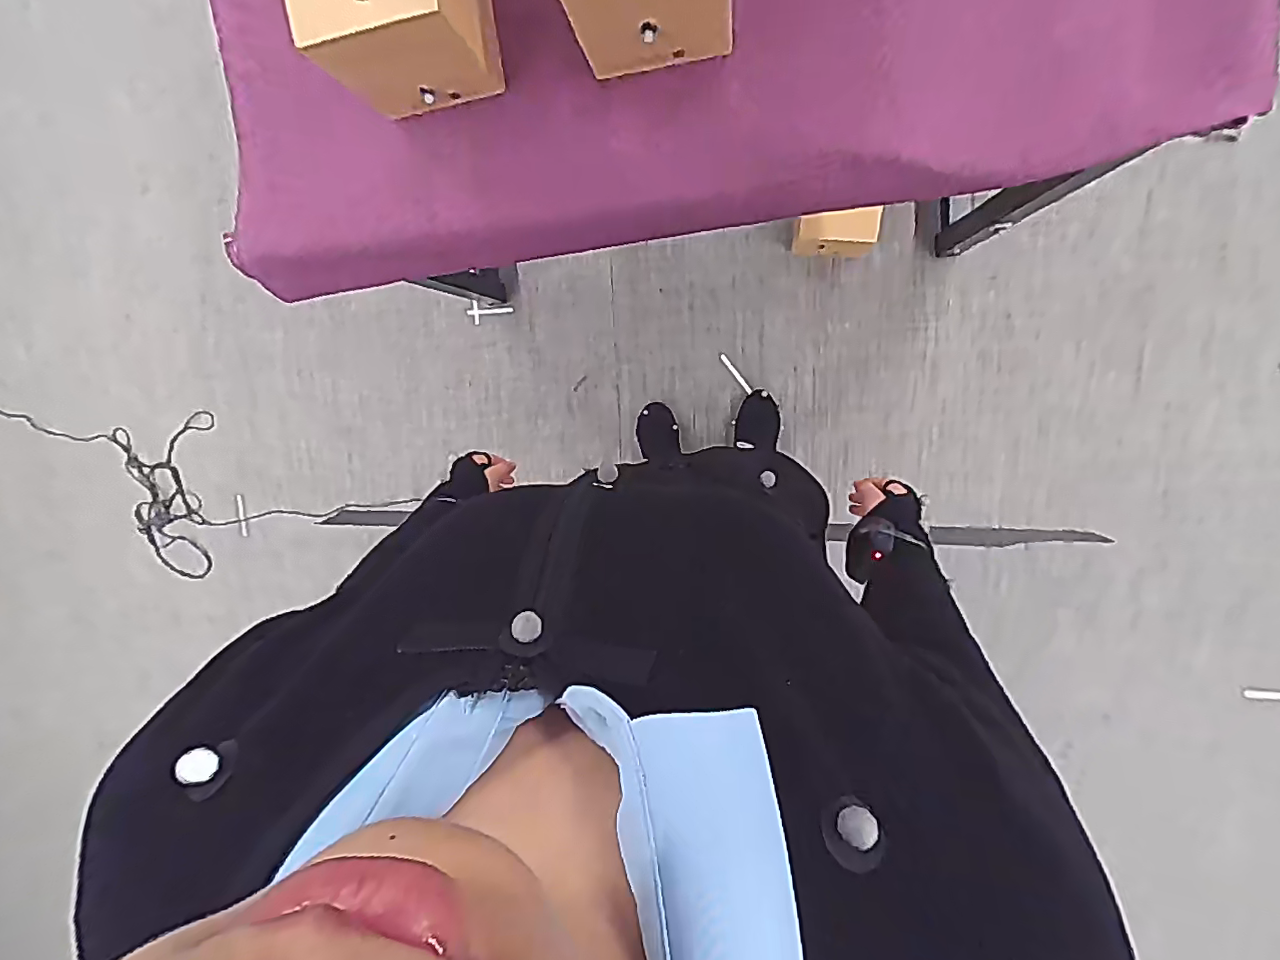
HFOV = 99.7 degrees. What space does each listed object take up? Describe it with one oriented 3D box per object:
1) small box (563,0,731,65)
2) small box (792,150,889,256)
[{"bbox_3d":[0.007,-0.570,0.559,0.168,0.176,0.179,-3,100,10],"label":"small box"},{"bbox_3d":[0.445,-0.620,1.229,0.168,0.176,0.179,8,101,9],"label":"small box"}]
